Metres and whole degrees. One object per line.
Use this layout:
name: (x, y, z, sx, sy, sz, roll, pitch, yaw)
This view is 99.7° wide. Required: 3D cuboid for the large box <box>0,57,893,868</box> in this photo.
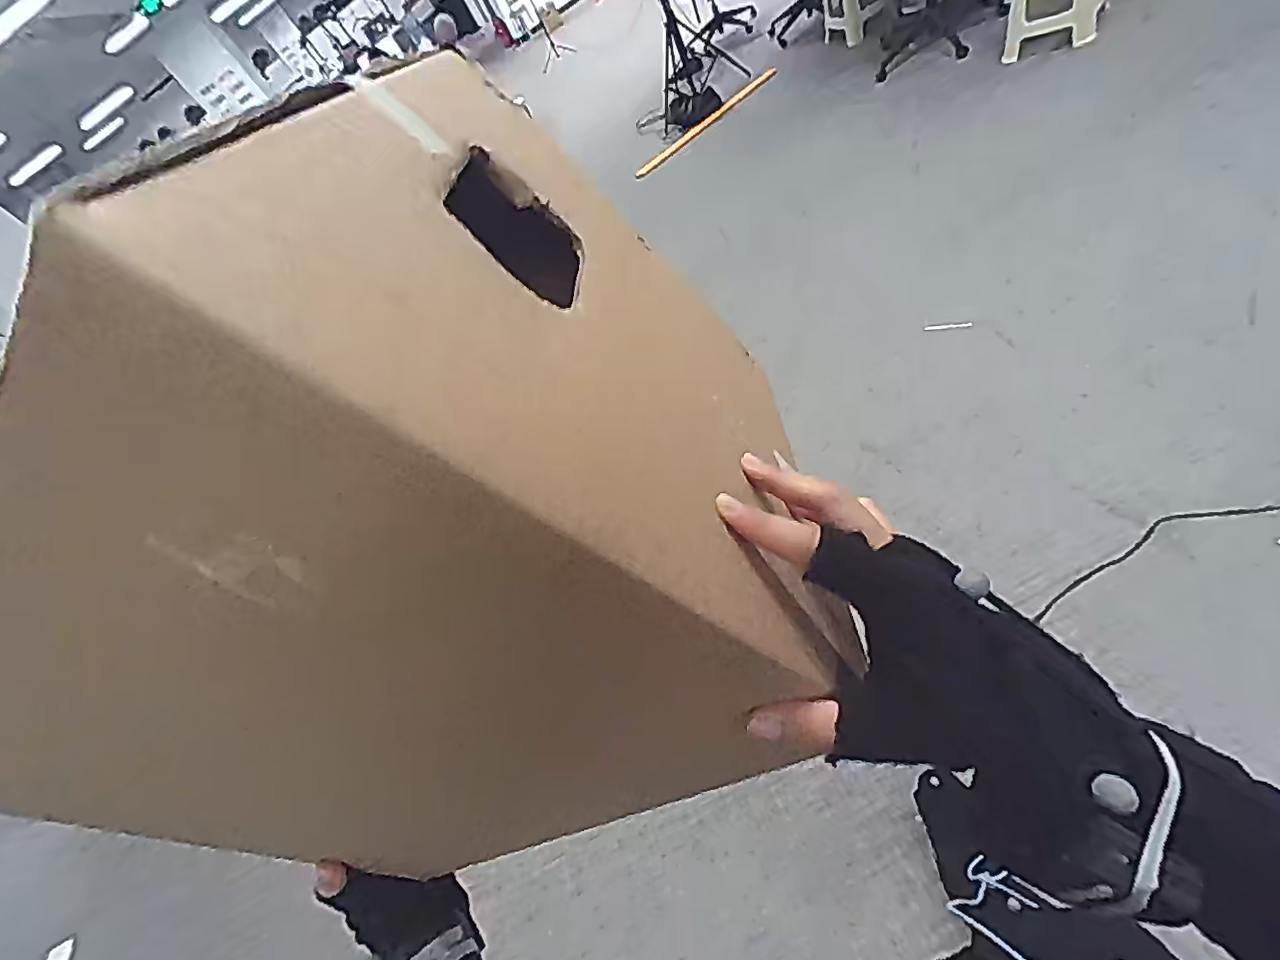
large box: (-0.124, 0.026, 0.378, 0.408, 0.320, 0.320, -35, 35, 27)
